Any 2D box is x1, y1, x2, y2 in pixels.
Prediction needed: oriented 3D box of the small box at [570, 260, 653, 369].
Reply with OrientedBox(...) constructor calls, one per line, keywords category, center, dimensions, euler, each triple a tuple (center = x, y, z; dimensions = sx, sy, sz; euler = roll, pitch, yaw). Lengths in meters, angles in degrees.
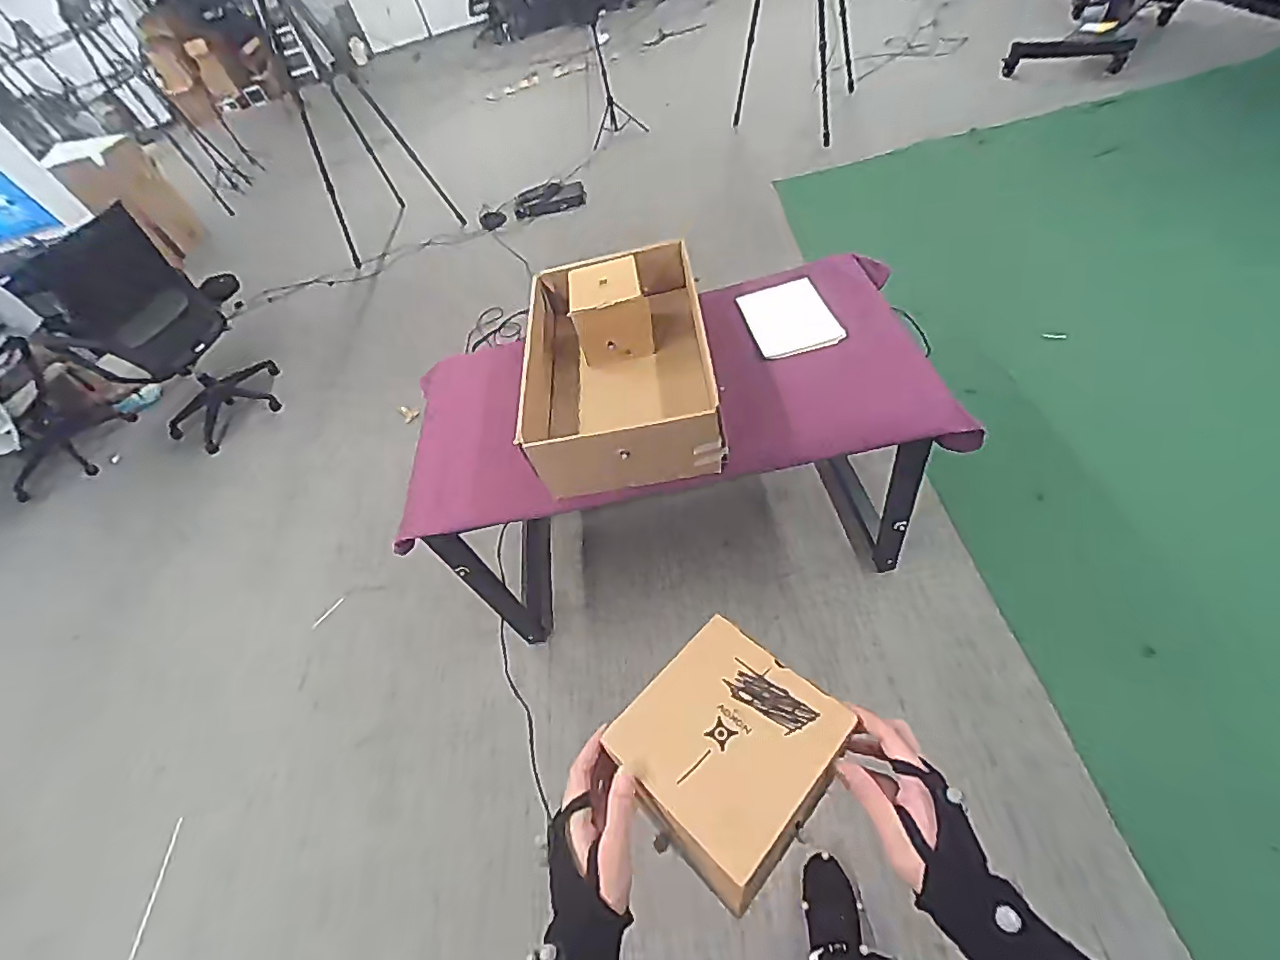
OrientedBox(category="small box", center=(-0.068, -0.401, 1.318), dimensions=(0.168, 0.176, 0.179), euler=(-12, 52, 5))
